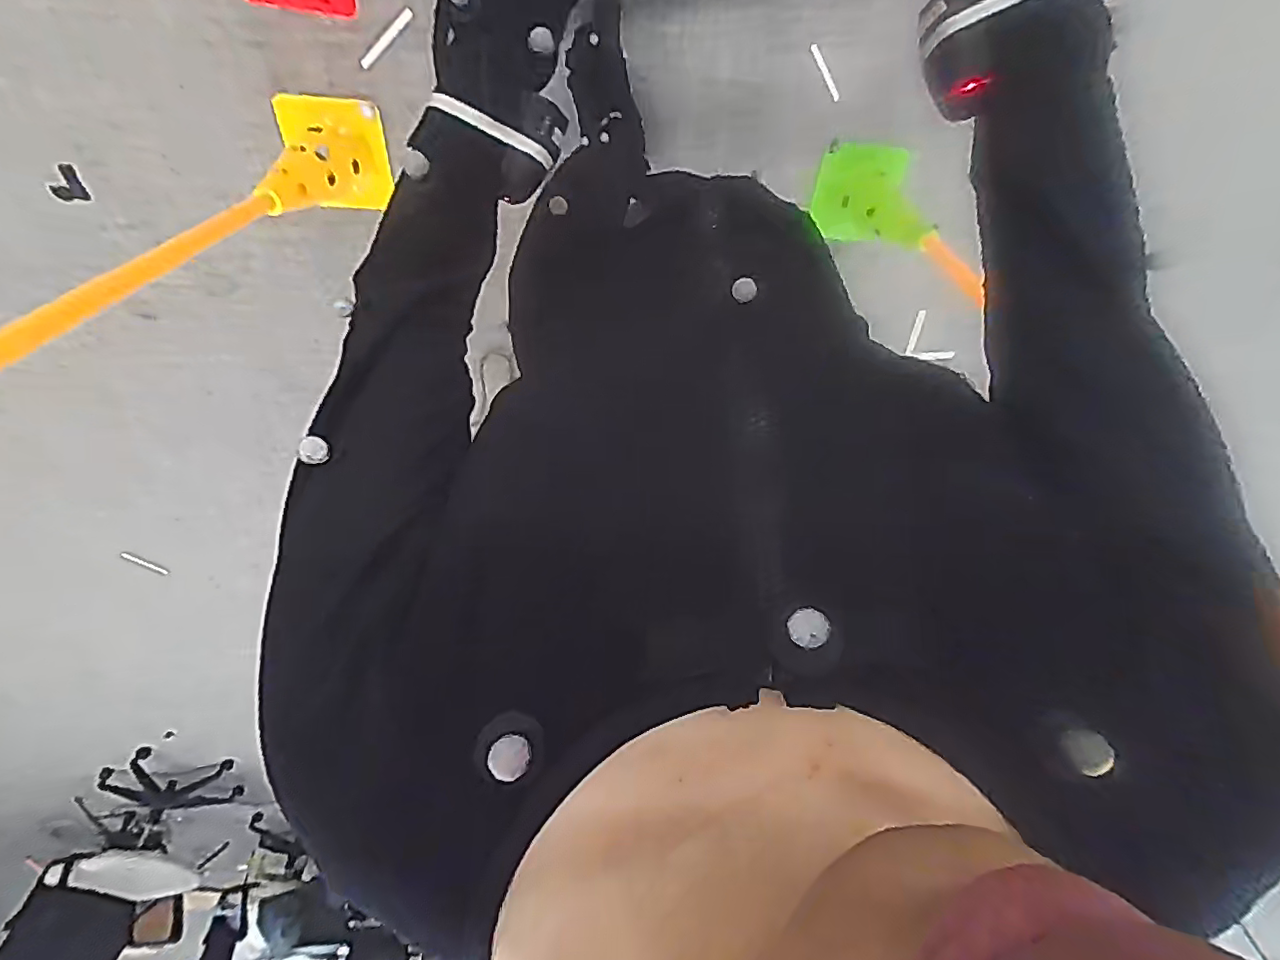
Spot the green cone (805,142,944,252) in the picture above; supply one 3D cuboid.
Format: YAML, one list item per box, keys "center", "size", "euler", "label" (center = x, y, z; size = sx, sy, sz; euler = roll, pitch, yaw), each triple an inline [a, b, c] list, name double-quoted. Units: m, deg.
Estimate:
- center: [0.515, -0.551, 1.126]
  size: [0.202, 0.368, 0.200]
  euler: [0, 131, -8]
  label: "green cone"

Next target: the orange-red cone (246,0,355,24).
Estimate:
- center: [-0.585, -0.808, 0.788]
  size: [0.198, 0.360, 0.199]
  euler: [3, 129, -10]
  label: "orange-red cone"
